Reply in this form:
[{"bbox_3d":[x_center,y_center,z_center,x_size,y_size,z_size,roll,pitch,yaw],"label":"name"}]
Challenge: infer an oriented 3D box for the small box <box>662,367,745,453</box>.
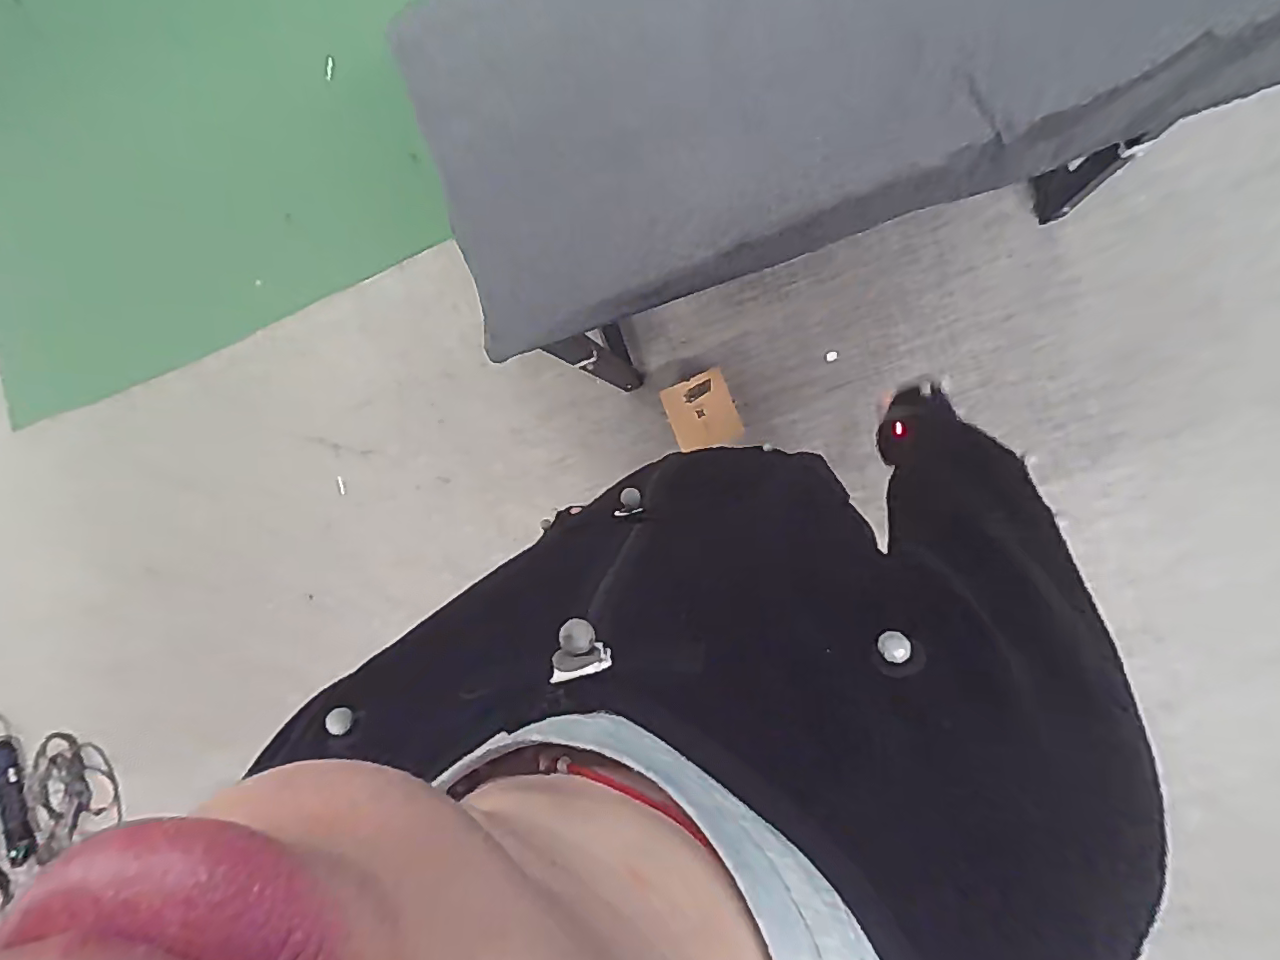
[{"bbox_3d":[0.173,-0.179,1.445,0.168,0.176,0.179,-21,88,14],"label":"small box"}]
